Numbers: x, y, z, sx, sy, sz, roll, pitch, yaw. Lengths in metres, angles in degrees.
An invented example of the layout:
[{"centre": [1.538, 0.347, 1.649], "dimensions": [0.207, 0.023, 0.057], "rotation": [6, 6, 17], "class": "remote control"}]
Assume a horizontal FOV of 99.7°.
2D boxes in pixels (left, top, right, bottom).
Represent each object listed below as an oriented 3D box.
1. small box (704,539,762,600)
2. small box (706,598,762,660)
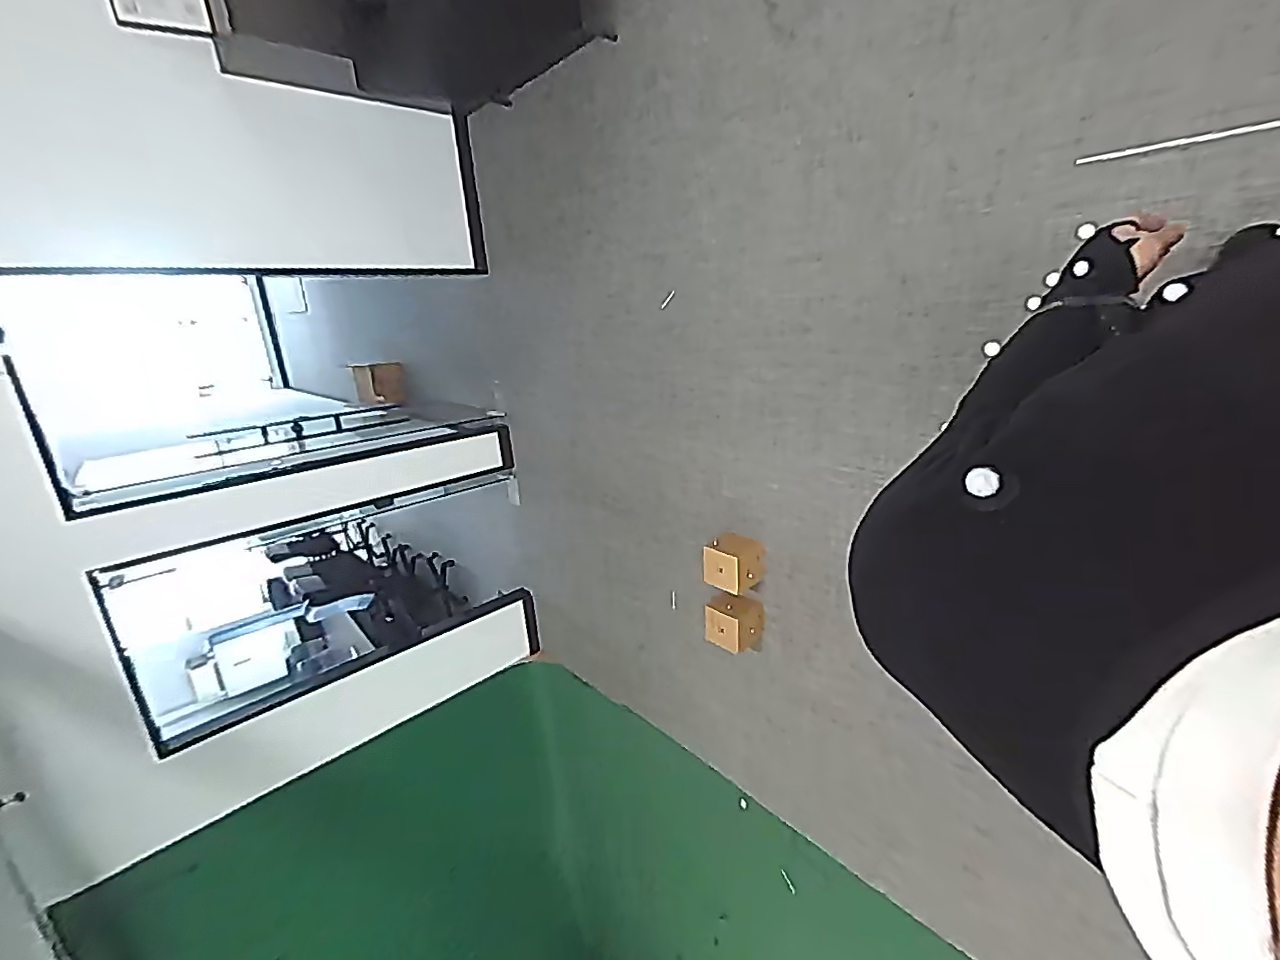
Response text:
[{"centre": [0.379, 0.353, 2.180], "dimensions": [0.179, 0.176, 0.168], "rotation": [15, 115, 46], "class": "small box"}, {"centre": [0.394, 0.611, 2.252], "dimensions": [0.179, 0.176, 0.168], "rotation": [15, 114, 46], "class": "small box"}]
